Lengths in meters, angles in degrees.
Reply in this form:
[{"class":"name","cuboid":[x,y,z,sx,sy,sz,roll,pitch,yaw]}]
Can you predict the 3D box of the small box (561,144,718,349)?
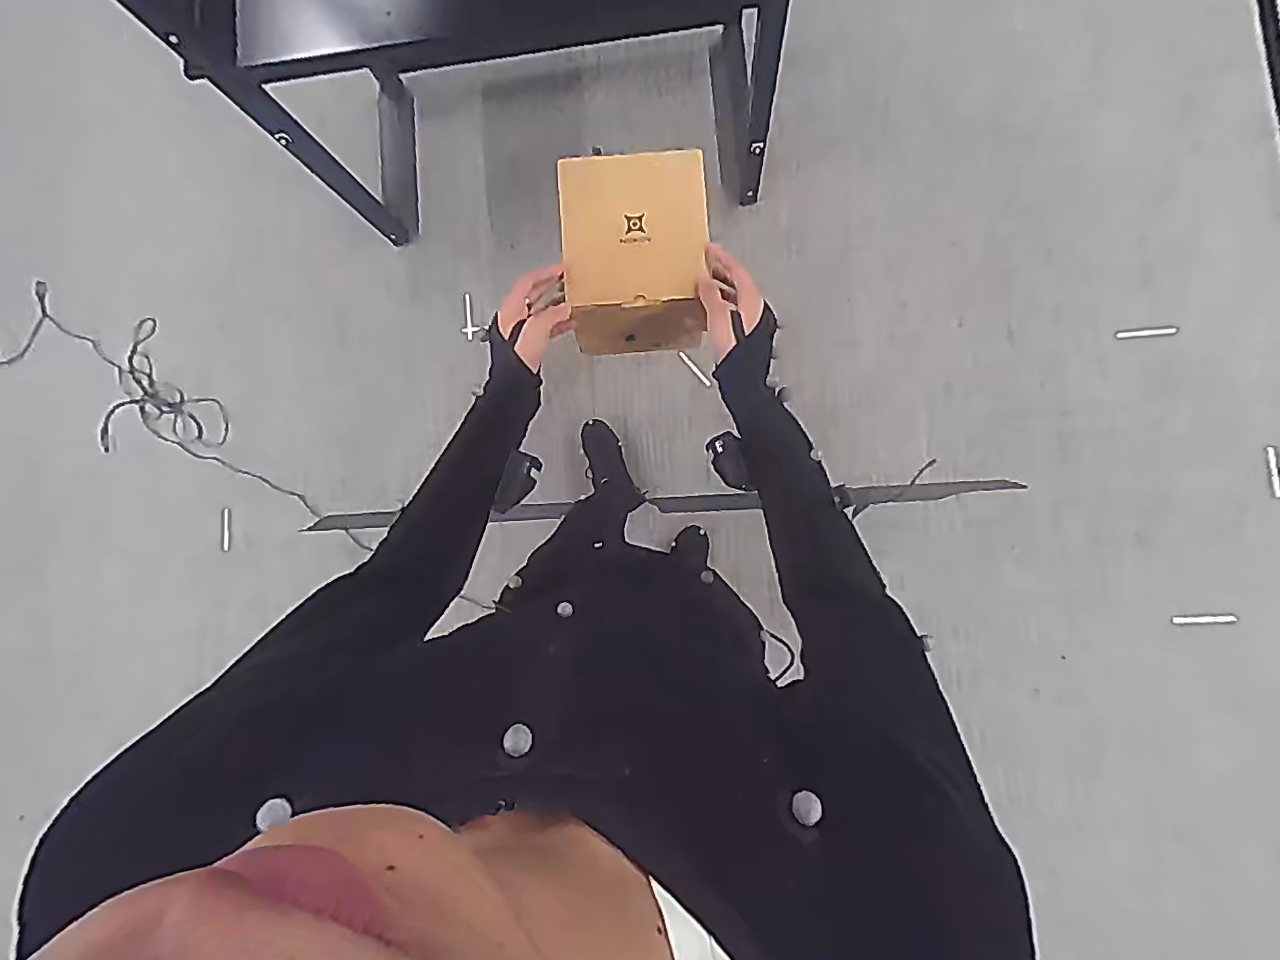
[{"class":"small box","cuboid":[-0.002,-0.278,0.674,0.168,0.176,0.179,-5,87,0]}]
